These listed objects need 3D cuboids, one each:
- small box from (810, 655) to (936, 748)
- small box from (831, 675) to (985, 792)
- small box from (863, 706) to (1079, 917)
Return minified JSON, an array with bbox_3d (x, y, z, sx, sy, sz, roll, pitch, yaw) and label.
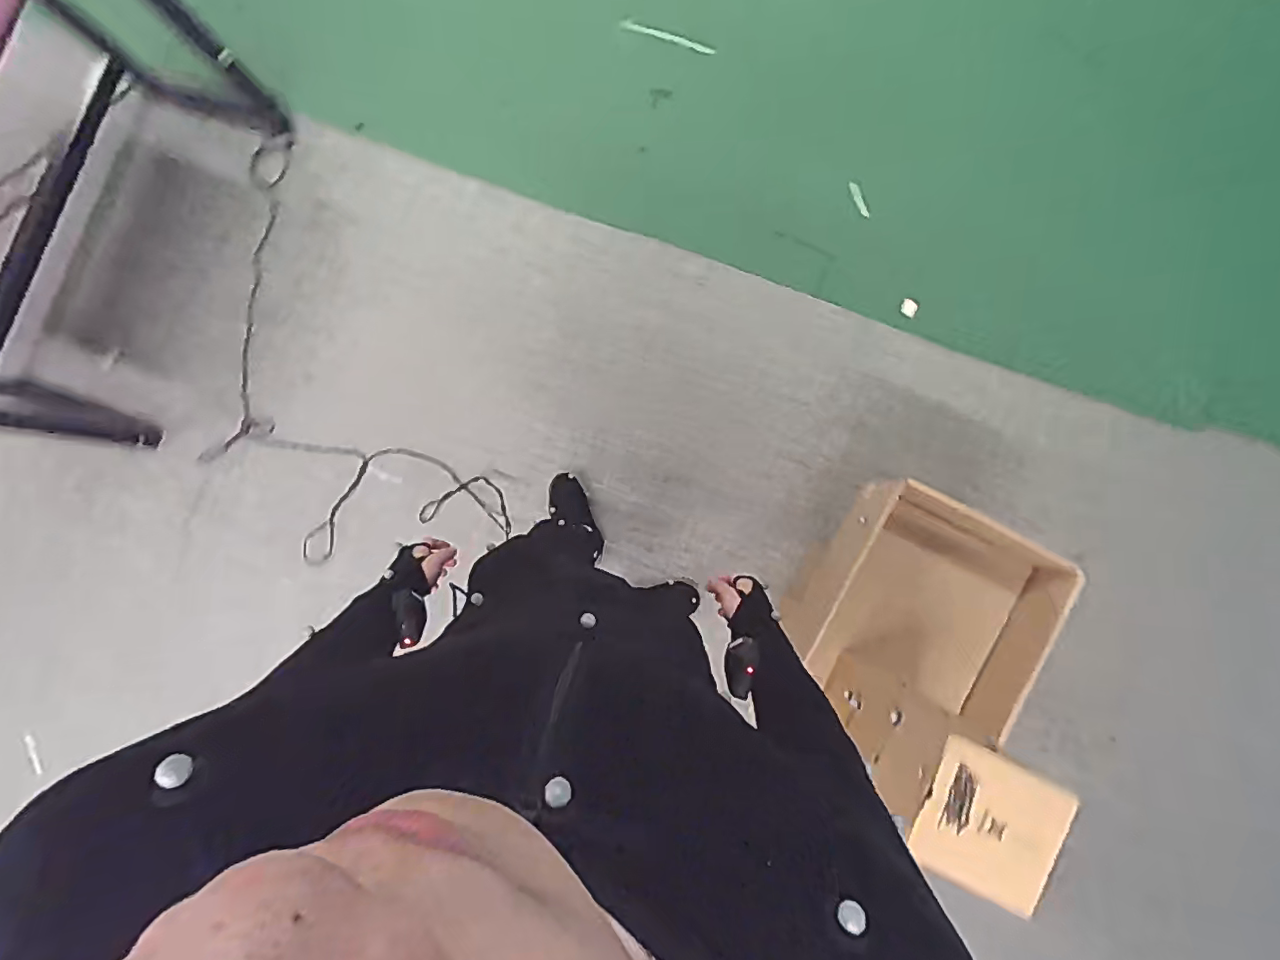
[{"bbox_3d":[0.476,0.479,1.096,0.179,0.176,0.168,27,87,4],"label":"small box"},{"bbox_3d":[0.463,0.464,0.934,0.179,0.176,0.168,27,87,5],"label":"small box"},{"bbox_3d":[0.451,0.450,0.771,0.179,0.176,0.168,27,87,4],"label":"small box"}]
